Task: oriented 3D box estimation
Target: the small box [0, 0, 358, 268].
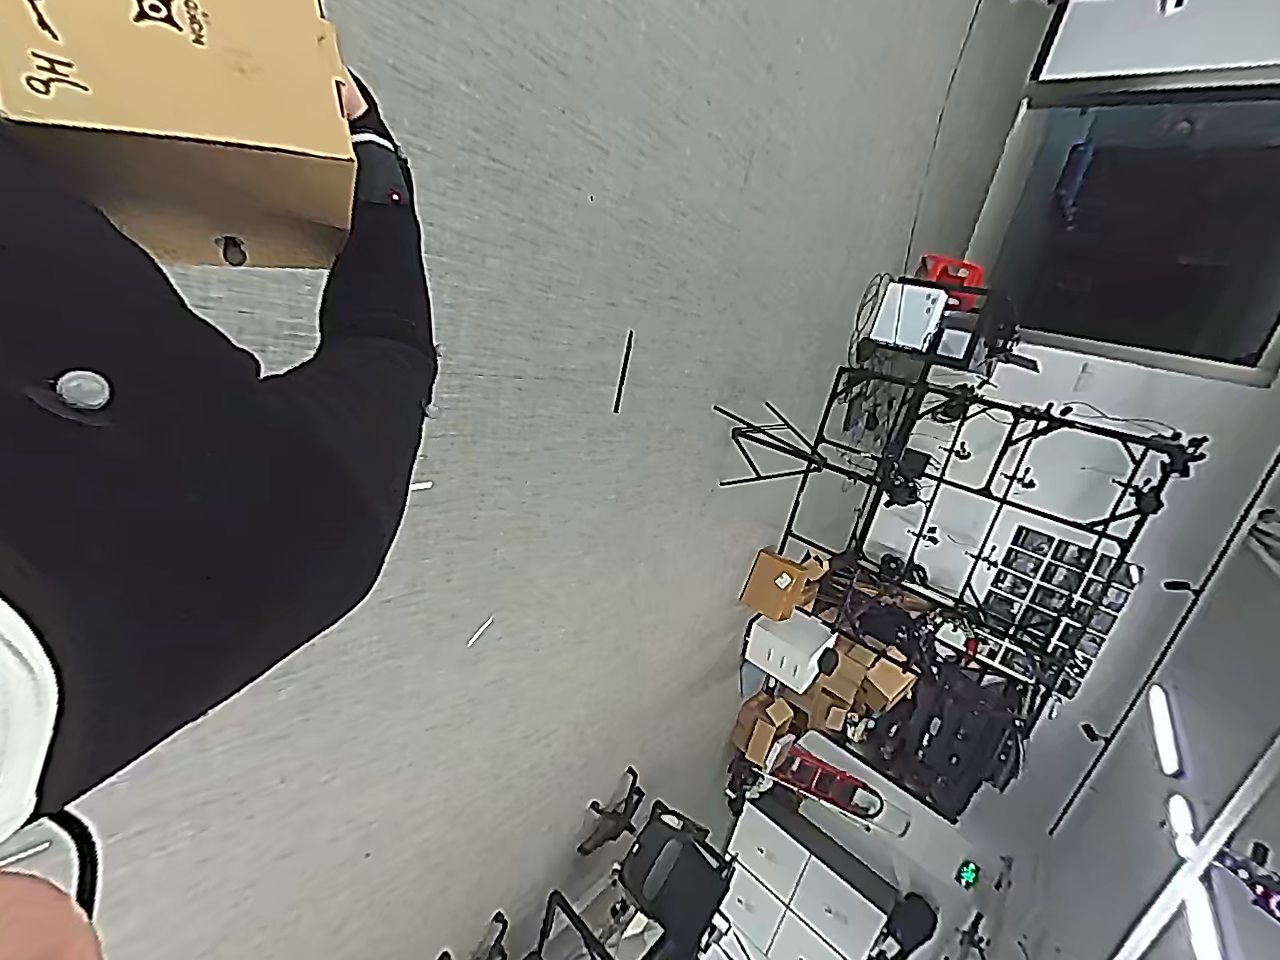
[{"bbox_3d":[-0.339,-0.282,0.421,0.179,0.176,0.168,-12,88,-33],"label":"small box"}]
